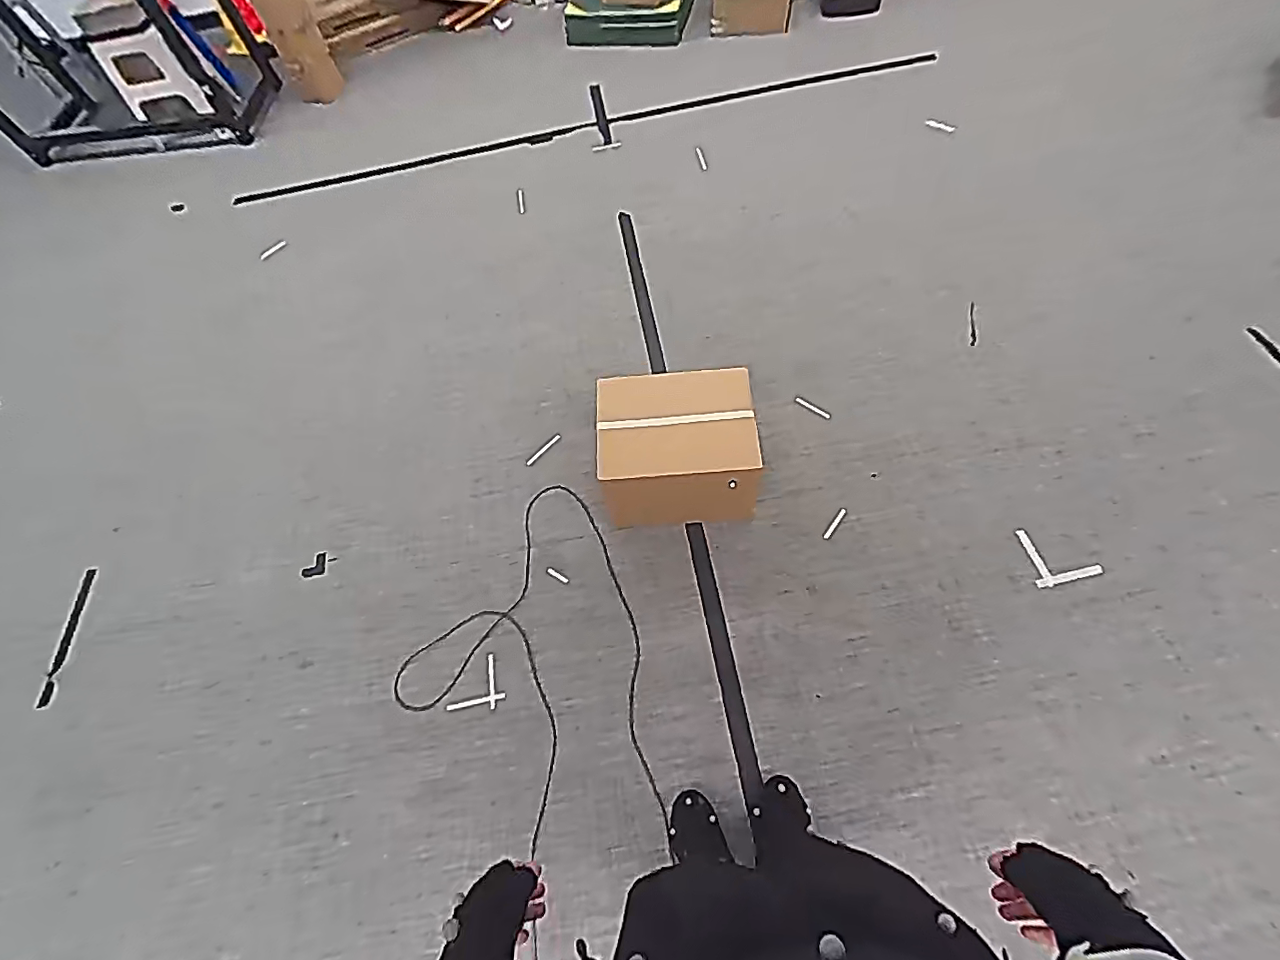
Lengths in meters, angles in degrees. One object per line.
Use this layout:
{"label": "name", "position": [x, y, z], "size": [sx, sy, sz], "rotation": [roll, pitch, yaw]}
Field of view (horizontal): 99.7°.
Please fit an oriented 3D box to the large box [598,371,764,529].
{"label": "large box", "position": [0.106, -0.072, 1.506], "size": [0.408, 0.320, 0.320], "rotation": [-4, 62, 3]}
